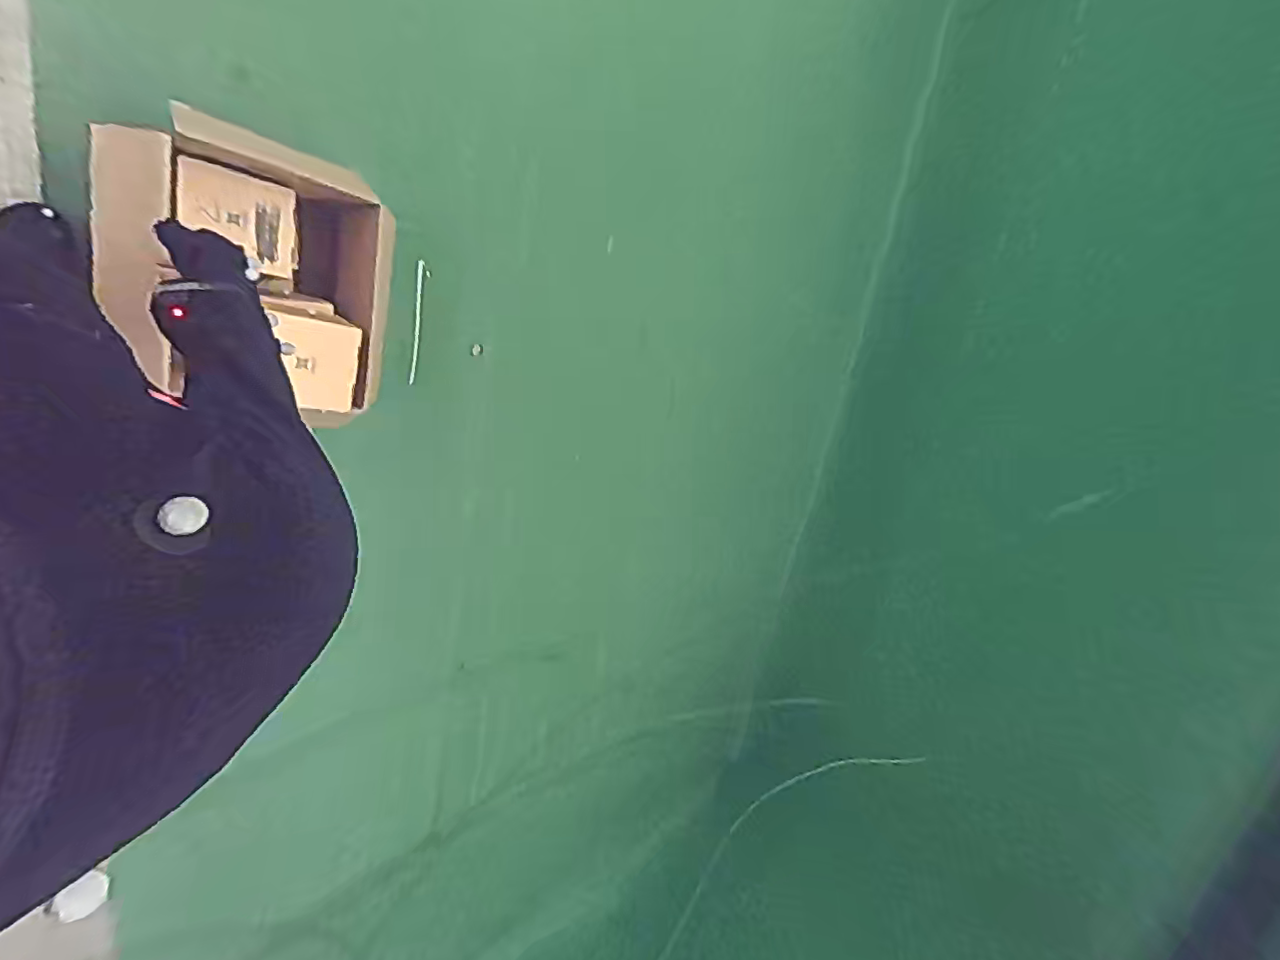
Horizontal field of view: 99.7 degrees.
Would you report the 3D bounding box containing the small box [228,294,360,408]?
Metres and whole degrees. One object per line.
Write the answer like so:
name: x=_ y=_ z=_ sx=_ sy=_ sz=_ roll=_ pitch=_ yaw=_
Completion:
small box: x=-0.664 y=-0.248 z=1.032 sx=0.179 sy=0.176 sz=0.168 roll=2 pitch=109 yaw=-46
